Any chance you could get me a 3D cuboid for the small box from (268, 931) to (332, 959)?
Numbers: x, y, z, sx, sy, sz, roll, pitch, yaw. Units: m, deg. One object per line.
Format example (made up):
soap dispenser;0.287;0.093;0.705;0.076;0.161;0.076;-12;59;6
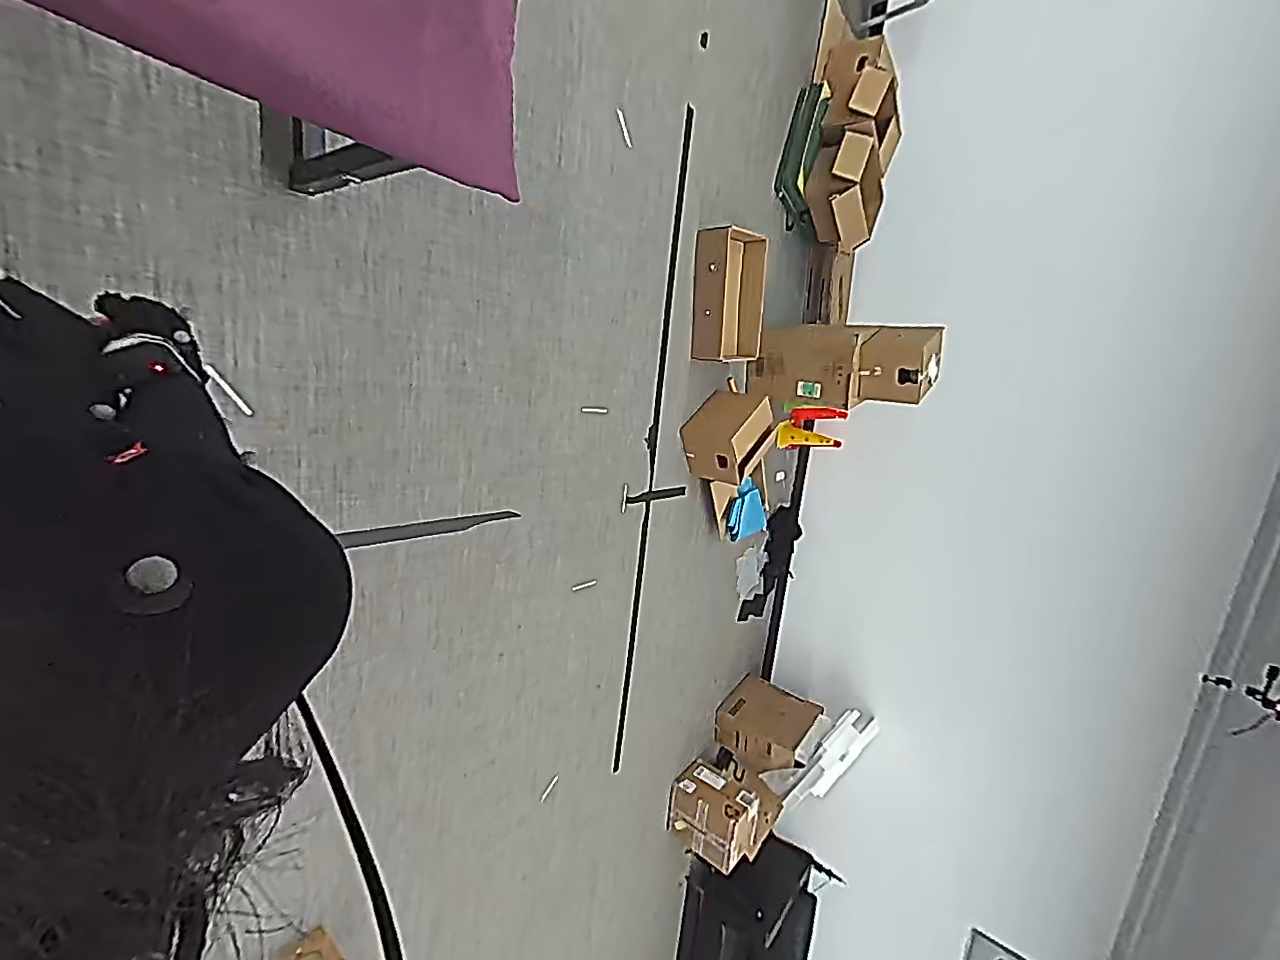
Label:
small box;-1.053;1.548;1.641;0.179;0.176;0.168;-8;109;-52
